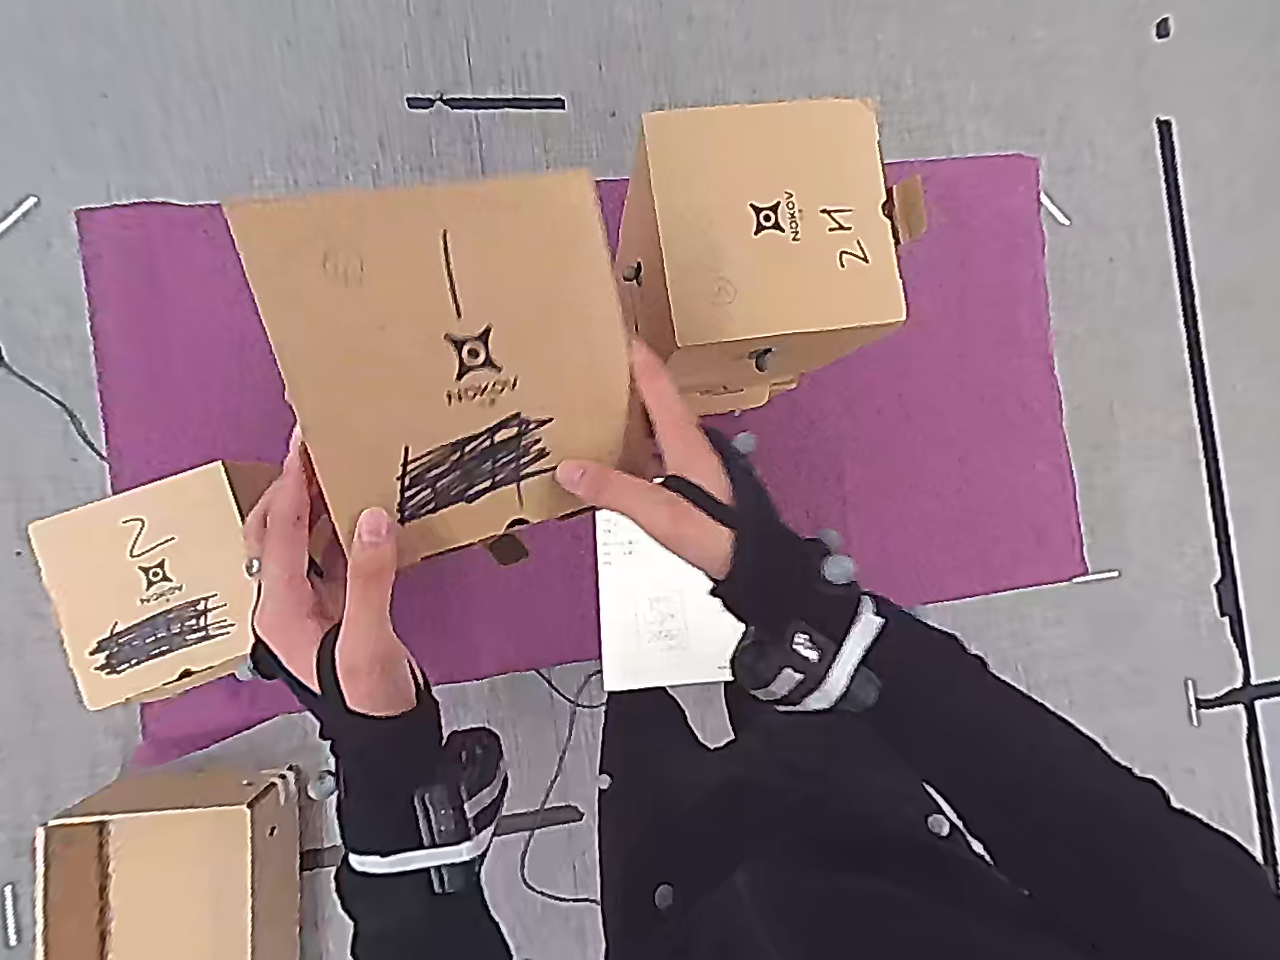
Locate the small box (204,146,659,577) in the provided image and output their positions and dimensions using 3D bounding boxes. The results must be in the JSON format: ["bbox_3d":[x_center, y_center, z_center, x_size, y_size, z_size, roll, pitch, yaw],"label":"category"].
[{"bbox_3d":[-0.107,-0.069,0.325,0.168,0.176,0.179,-16,104,-19],"label":"small box"}]

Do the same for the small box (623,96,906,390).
[{"bbox_3d":[0.083,-0.178,0.452,0.179,0.176,0.168,-8,90,-8],"label":"small box"}]

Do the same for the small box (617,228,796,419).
[{"bbox_3d":[0.060,-0.167,0.616,0.168,0.176,0.179,-7,89,-7],"label":"small box"}]
